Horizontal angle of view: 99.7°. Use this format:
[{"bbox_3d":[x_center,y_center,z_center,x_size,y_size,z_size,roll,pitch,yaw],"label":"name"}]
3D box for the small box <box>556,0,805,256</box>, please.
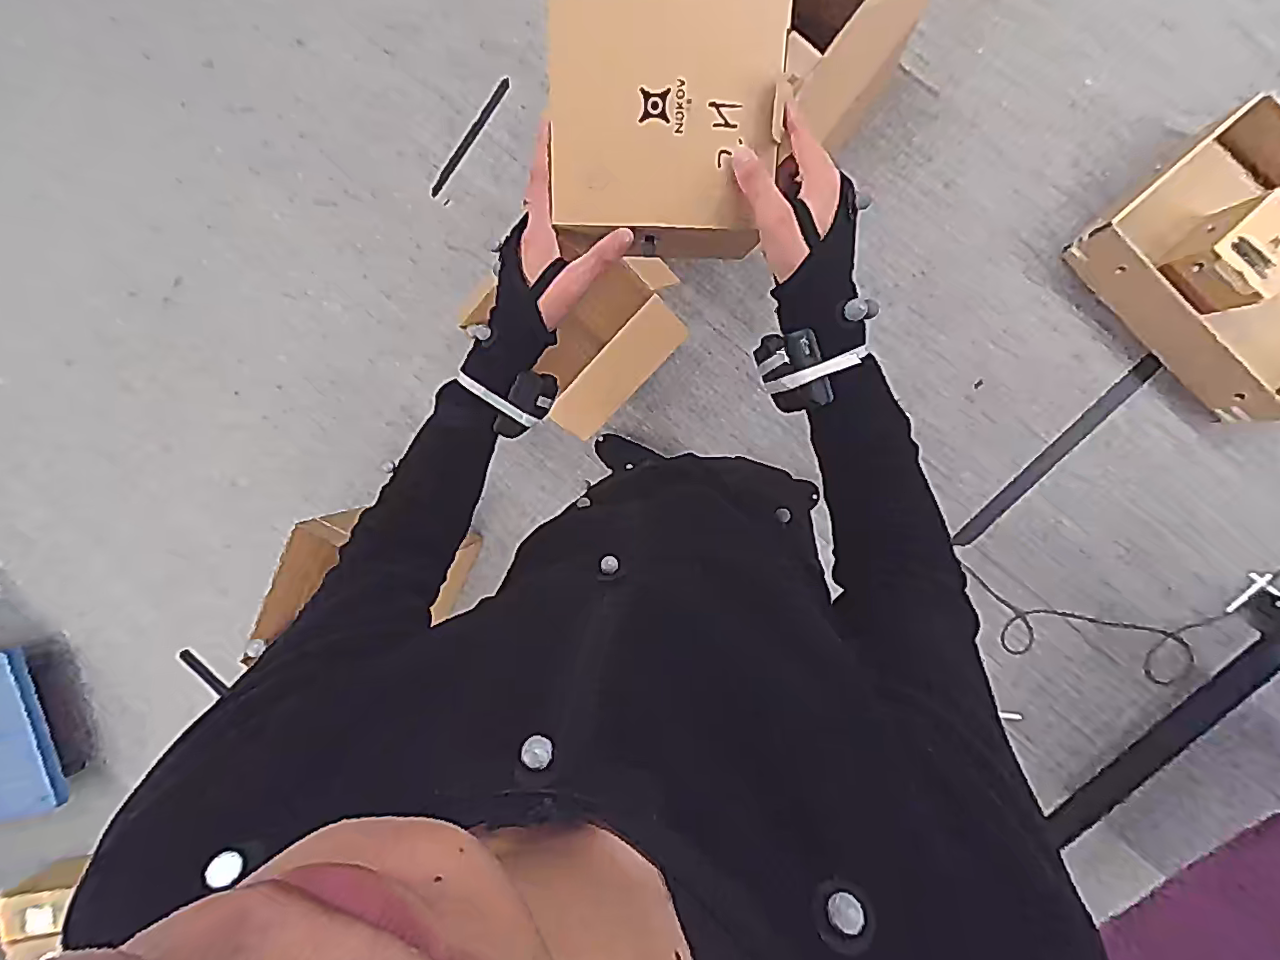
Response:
[{"bbox_3d":[0.030,-0.296,0.472,0.179,0.176,0.168,3,106,2],"label":"small box"}]
